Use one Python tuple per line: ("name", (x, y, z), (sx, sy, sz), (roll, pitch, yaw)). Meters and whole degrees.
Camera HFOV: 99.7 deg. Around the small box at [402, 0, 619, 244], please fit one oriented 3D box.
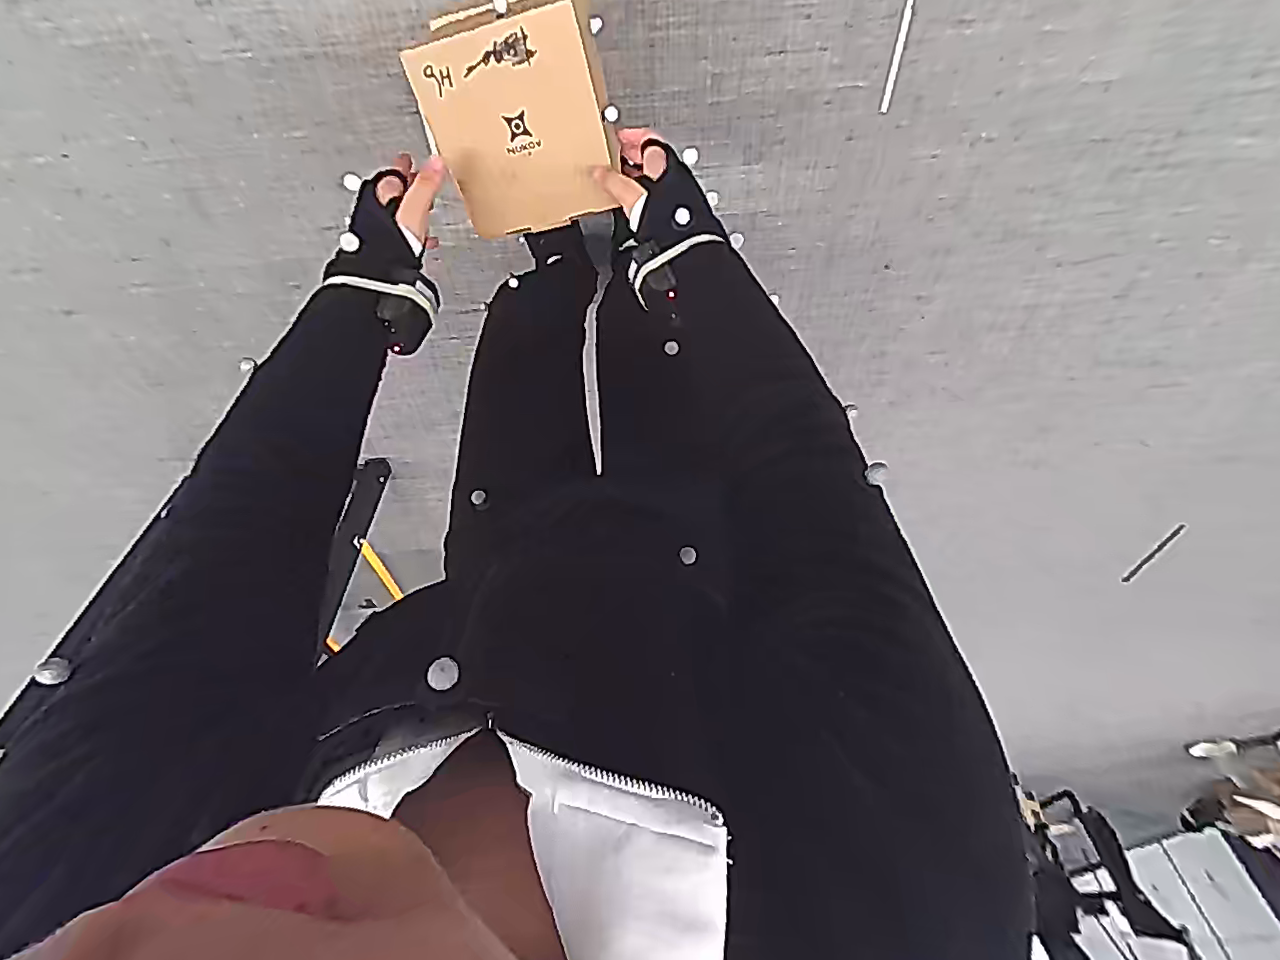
("small box", (-0.120, -0.392, 0.589), (0.168, 0.176, 0.179), (-10, 136, 8))
